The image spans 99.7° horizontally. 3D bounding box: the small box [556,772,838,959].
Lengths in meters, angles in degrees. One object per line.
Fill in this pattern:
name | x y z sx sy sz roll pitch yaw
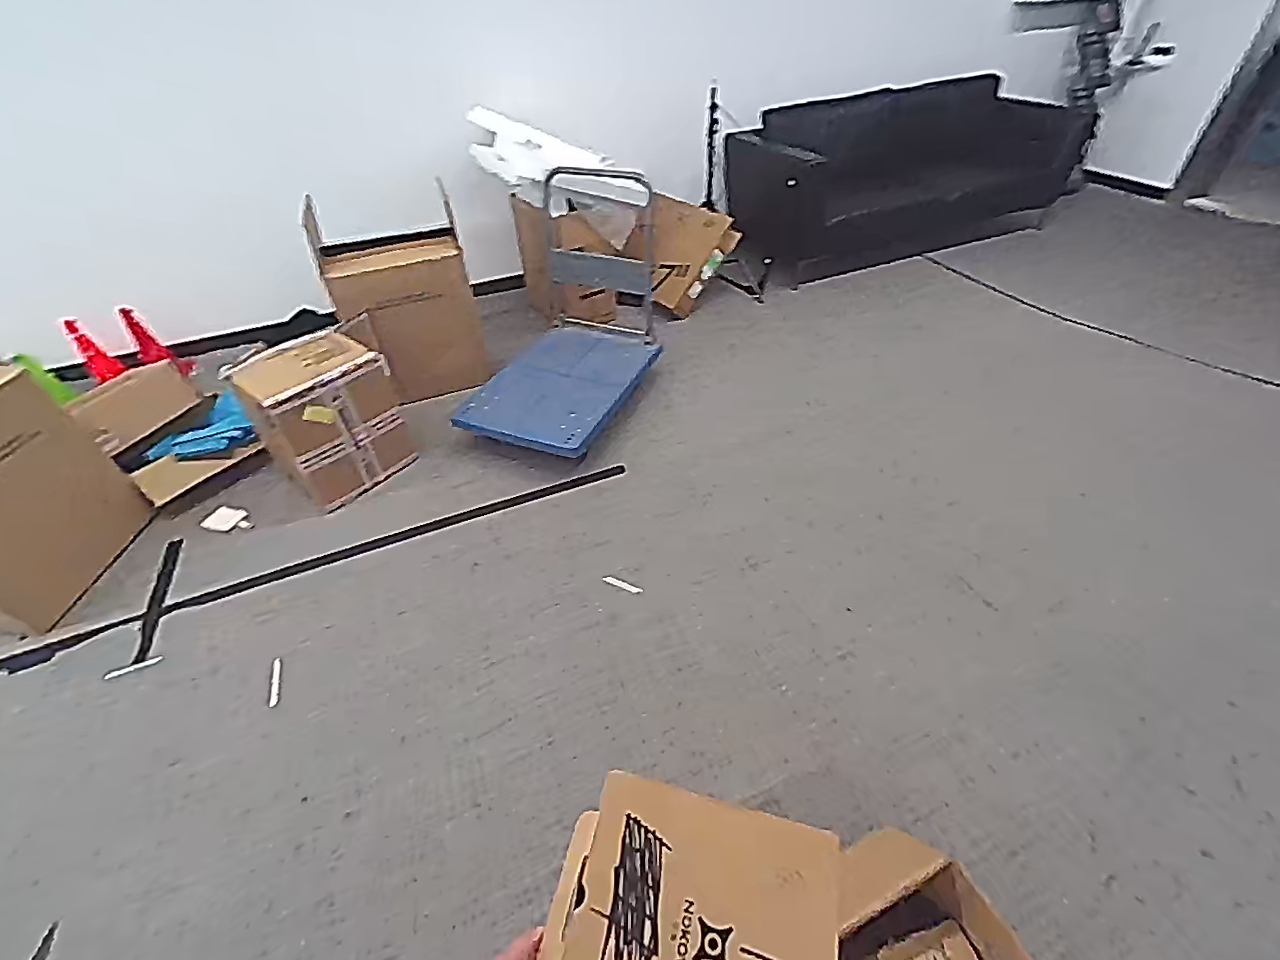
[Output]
small box | 0.040 0.355 0.411 0.179 0.176 0.168 10 47 10
